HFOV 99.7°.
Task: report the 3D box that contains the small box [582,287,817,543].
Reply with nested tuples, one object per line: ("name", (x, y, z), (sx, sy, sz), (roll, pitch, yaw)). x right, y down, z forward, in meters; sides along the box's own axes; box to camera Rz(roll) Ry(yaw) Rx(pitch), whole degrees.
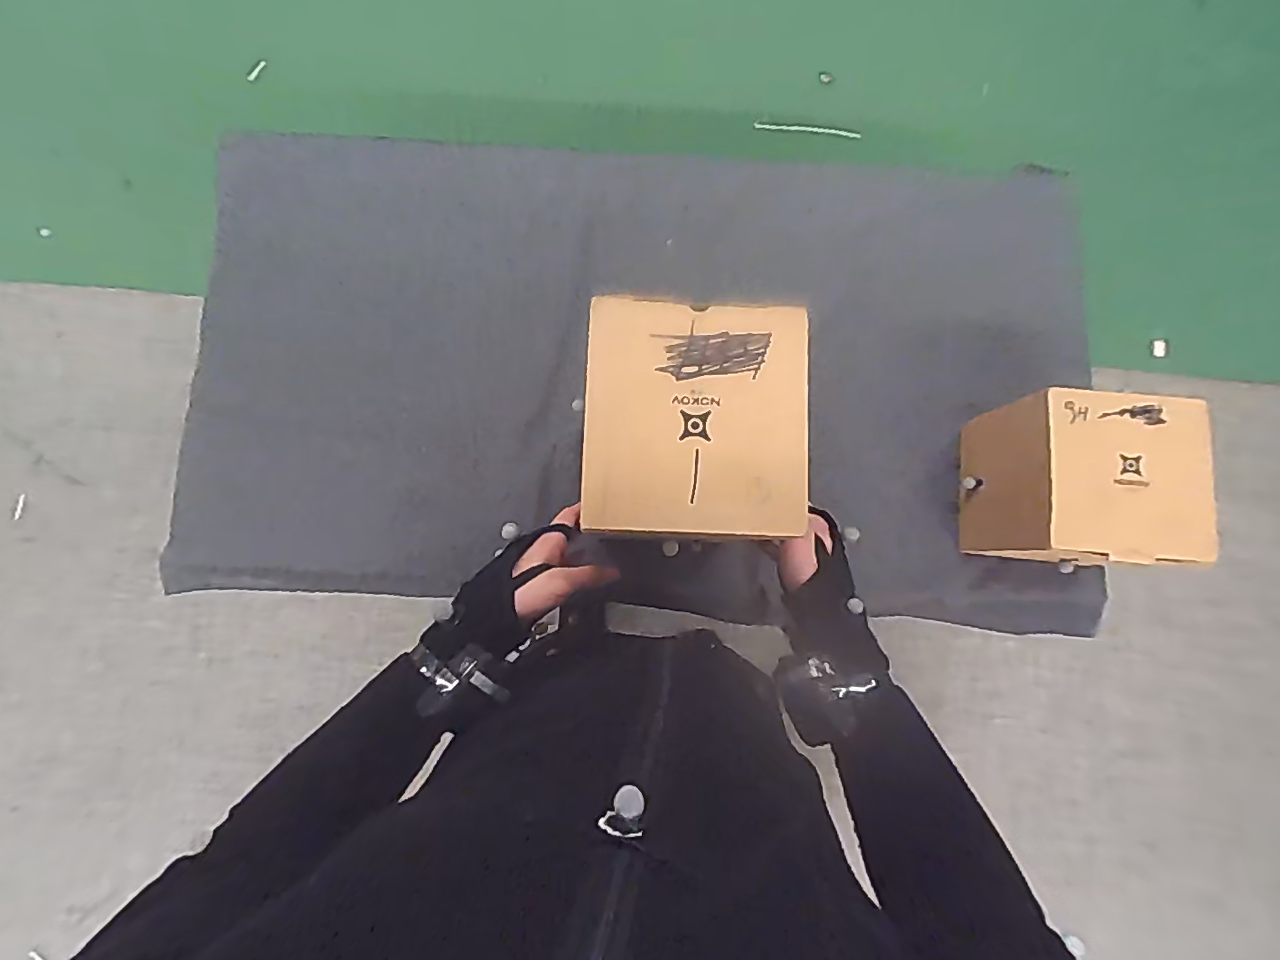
("small box", (0.041, -0.040, 0.463), (0.168, 0.176, 0.179), (3, 82, -1))

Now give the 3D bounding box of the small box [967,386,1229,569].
("small box", (0.507, 0.006, 0.625), (0.168, 0.176, 0.179), (5, 81, 2))
